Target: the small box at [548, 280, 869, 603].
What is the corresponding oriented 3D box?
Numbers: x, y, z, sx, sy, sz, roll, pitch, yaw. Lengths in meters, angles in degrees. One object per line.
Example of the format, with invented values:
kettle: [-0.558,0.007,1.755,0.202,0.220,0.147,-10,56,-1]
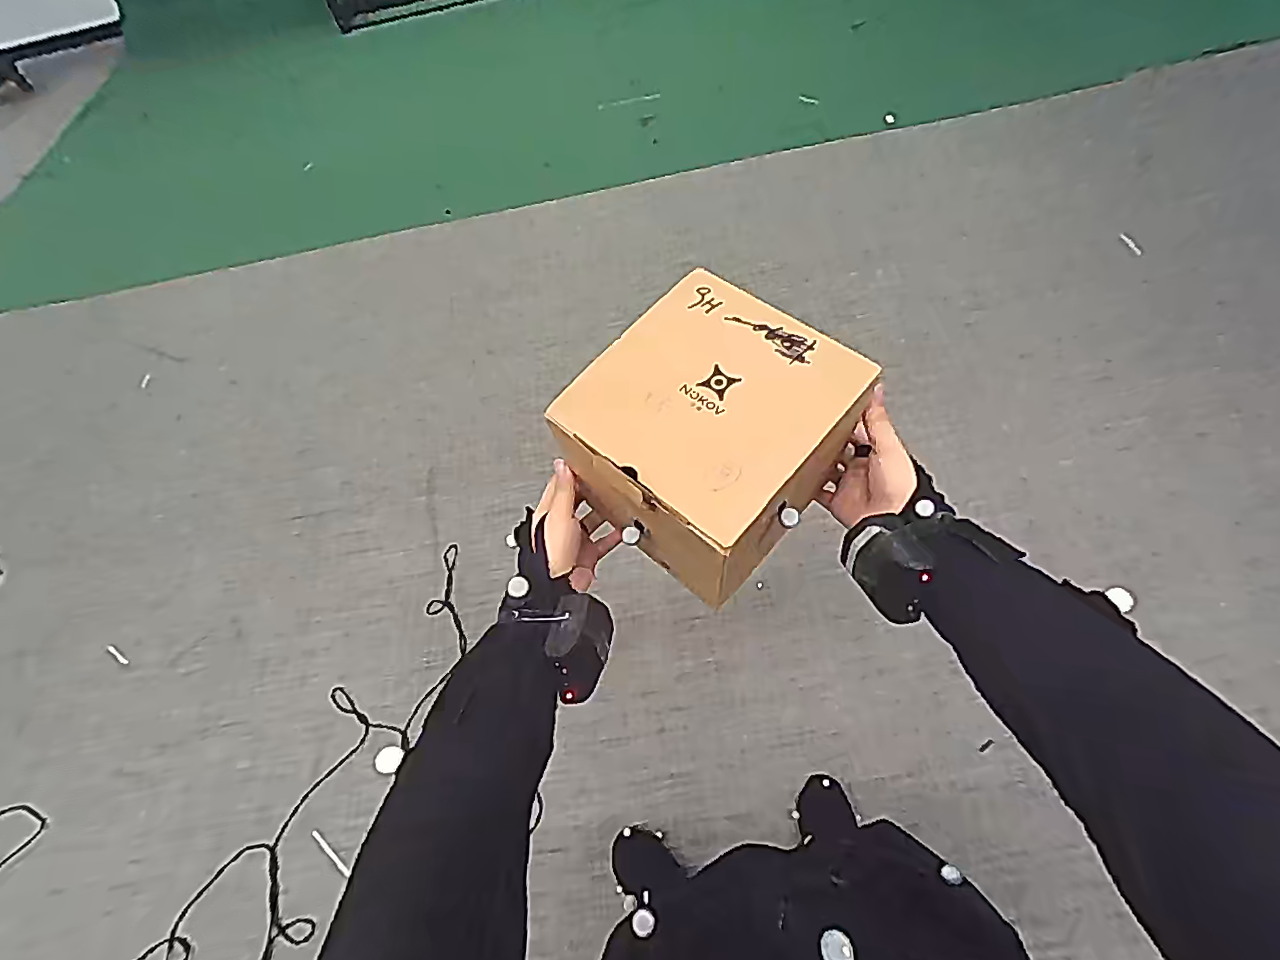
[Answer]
small box: [0.057,-0.022,0.458,0.168,0.176,0.179,38,74,21]
